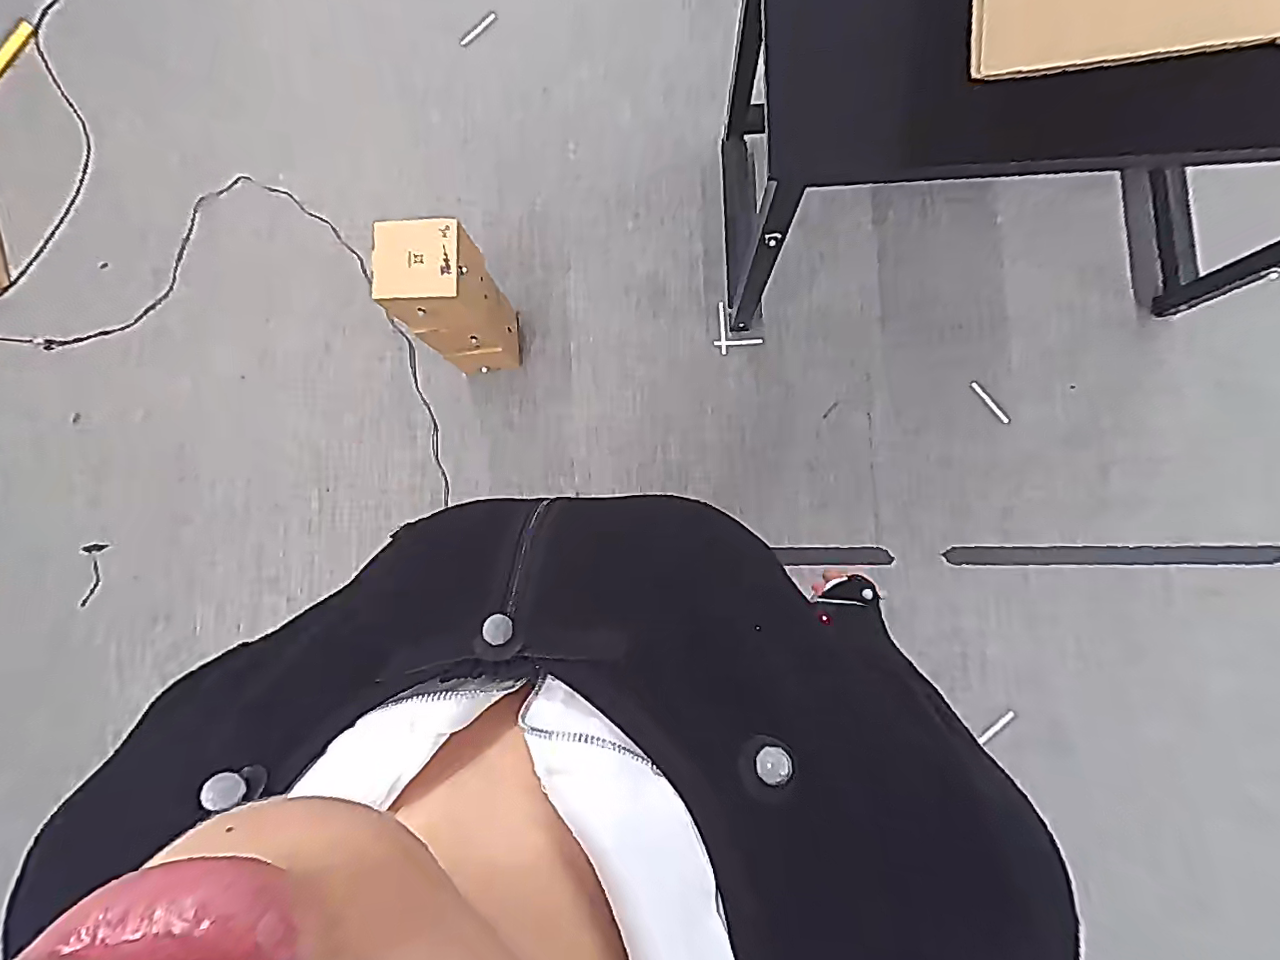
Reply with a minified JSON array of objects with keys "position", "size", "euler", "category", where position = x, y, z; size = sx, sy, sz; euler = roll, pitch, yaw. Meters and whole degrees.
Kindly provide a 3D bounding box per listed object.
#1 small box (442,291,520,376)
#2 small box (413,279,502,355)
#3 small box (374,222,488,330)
[{"position":[-0.438,-0.400,1.495],"size":[0.168,0.176,0.179],"euler":[-5,86,3],"category":"small box"},{"position":[-0.451,-0.420,1.335],"size":[0.168,0.176,0.179],"euler":[-8,83,2],"category":"small box"},{"position":[-0.446,-0.432,1.171],"size":[0.179,0.176,0.168],"euler":[-1,85,4],"category":"small box"}]
